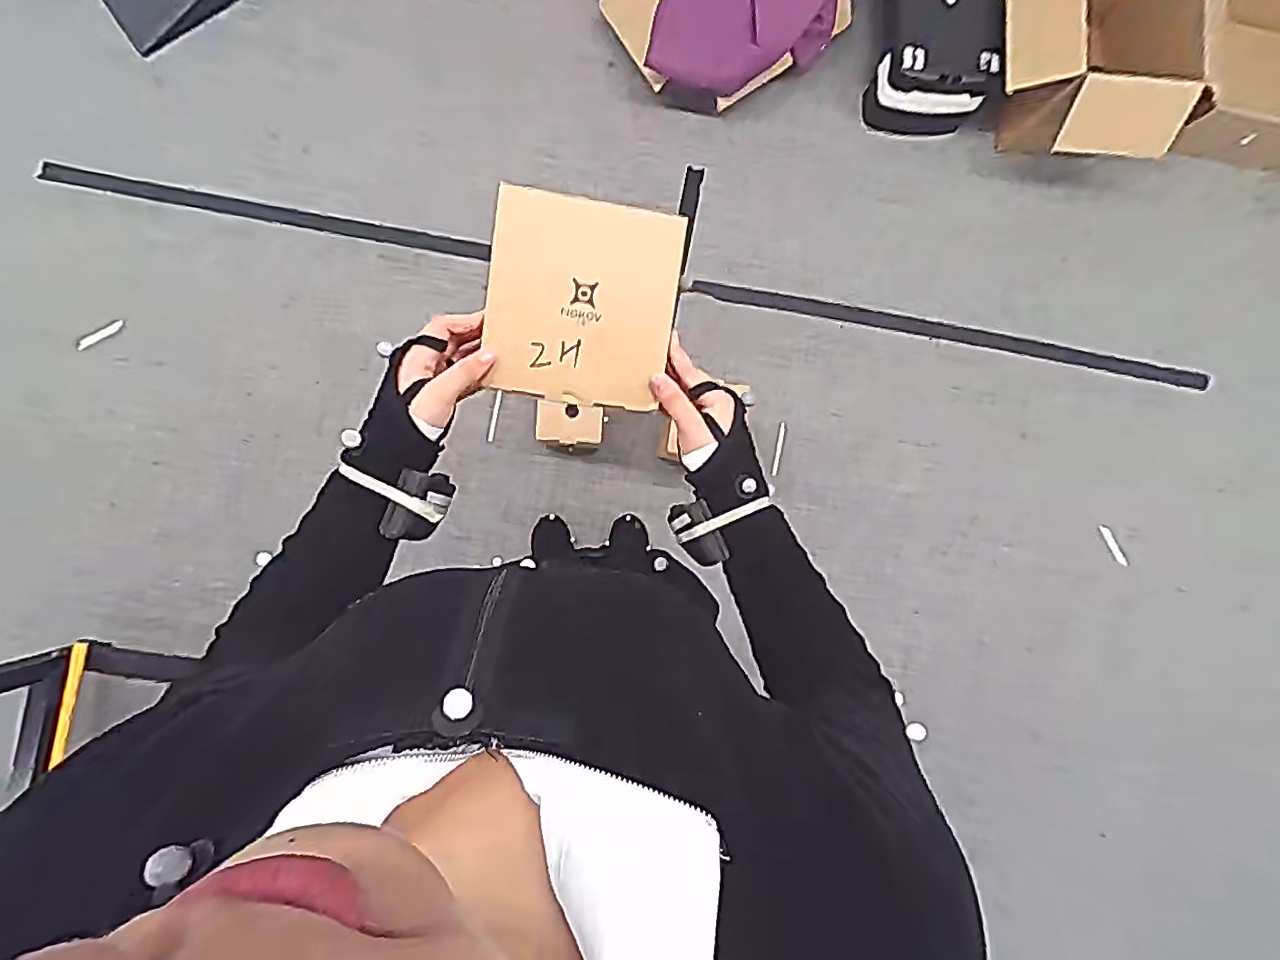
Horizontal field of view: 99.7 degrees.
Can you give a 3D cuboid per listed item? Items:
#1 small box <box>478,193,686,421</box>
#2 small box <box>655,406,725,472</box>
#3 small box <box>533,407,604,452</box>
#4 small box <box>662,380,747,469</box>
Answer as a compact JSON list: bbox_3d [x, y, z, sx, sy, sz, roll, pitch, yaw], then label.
[{"bbox_3d":[-0.058,-0.159,0.560,0.168,0.176,0.179,8,95,-5],"label":"small box"},{"bbox_3d":[0.144,-0.119,1.446,0.179,0.176,0.168,13,88,-3],"label":"small box"},{"bbox_3d":[-0.182,-0.170,1.432,0.168,0.176,0.179,4,89,-2],"label":"small box"},{"bbox_3d":[0.146,-0.126,1.284,0.168,0.176,0.179,8,89,-1],"label":"small box"}]
